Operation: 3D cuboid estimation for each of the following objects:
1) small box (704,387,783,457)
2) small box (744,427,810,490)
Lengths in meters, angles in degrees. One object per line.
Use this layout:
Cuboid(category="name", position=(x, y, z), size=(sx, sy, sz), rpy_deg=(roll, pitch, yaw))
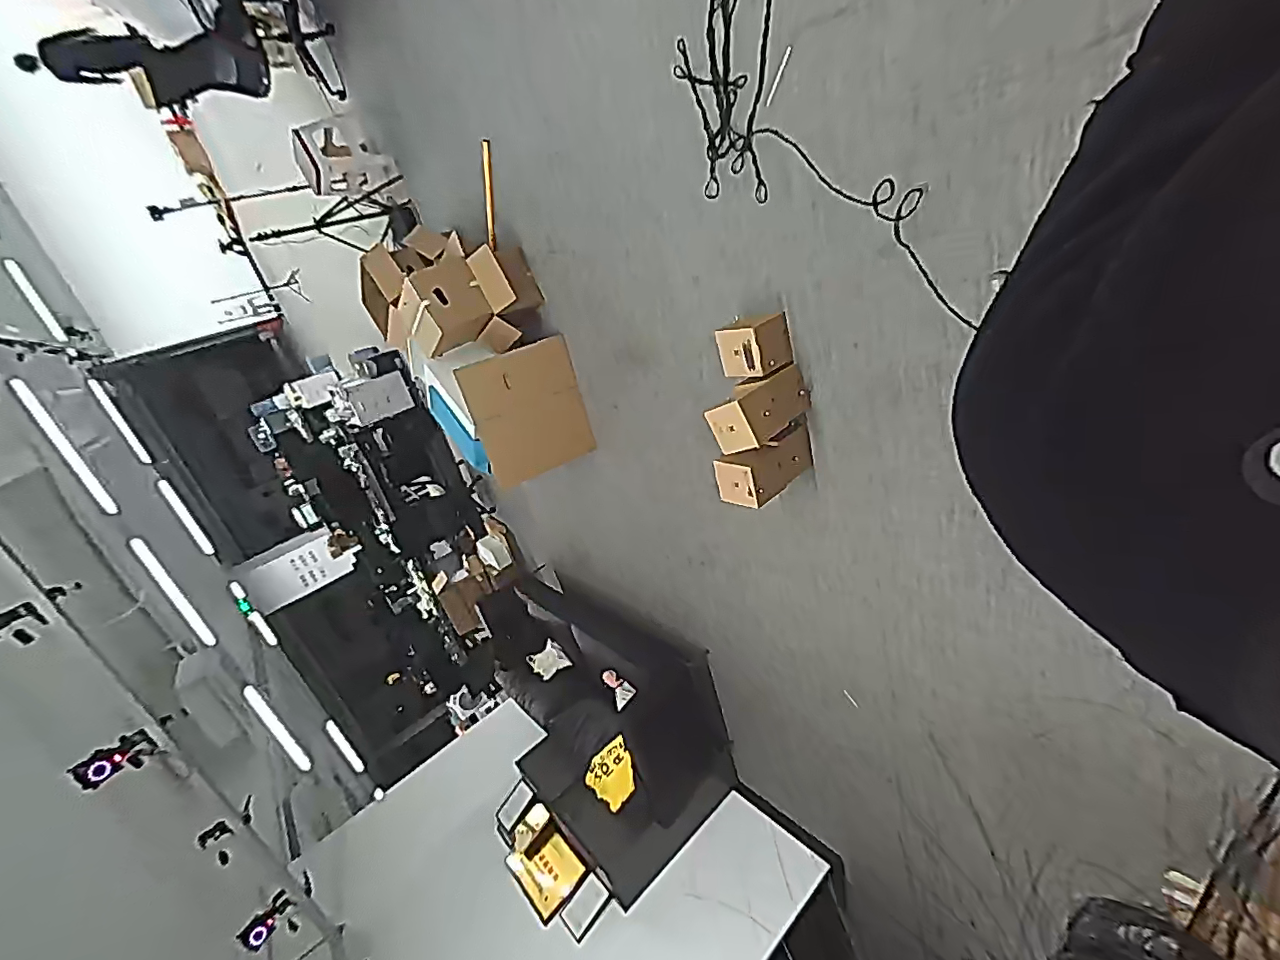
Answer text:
Cuboid(category="small box", position=(0.353, -0.195, 1.808), size=(0.179, 0.176, 0.168), rpy_deg=(-13, 106, 59))
Cuboid(category="small box", position=(0.506, -0.089, 1.998), size=(0.168, 0.176, 0.179), rpy_deg=(14, 129, 51))
